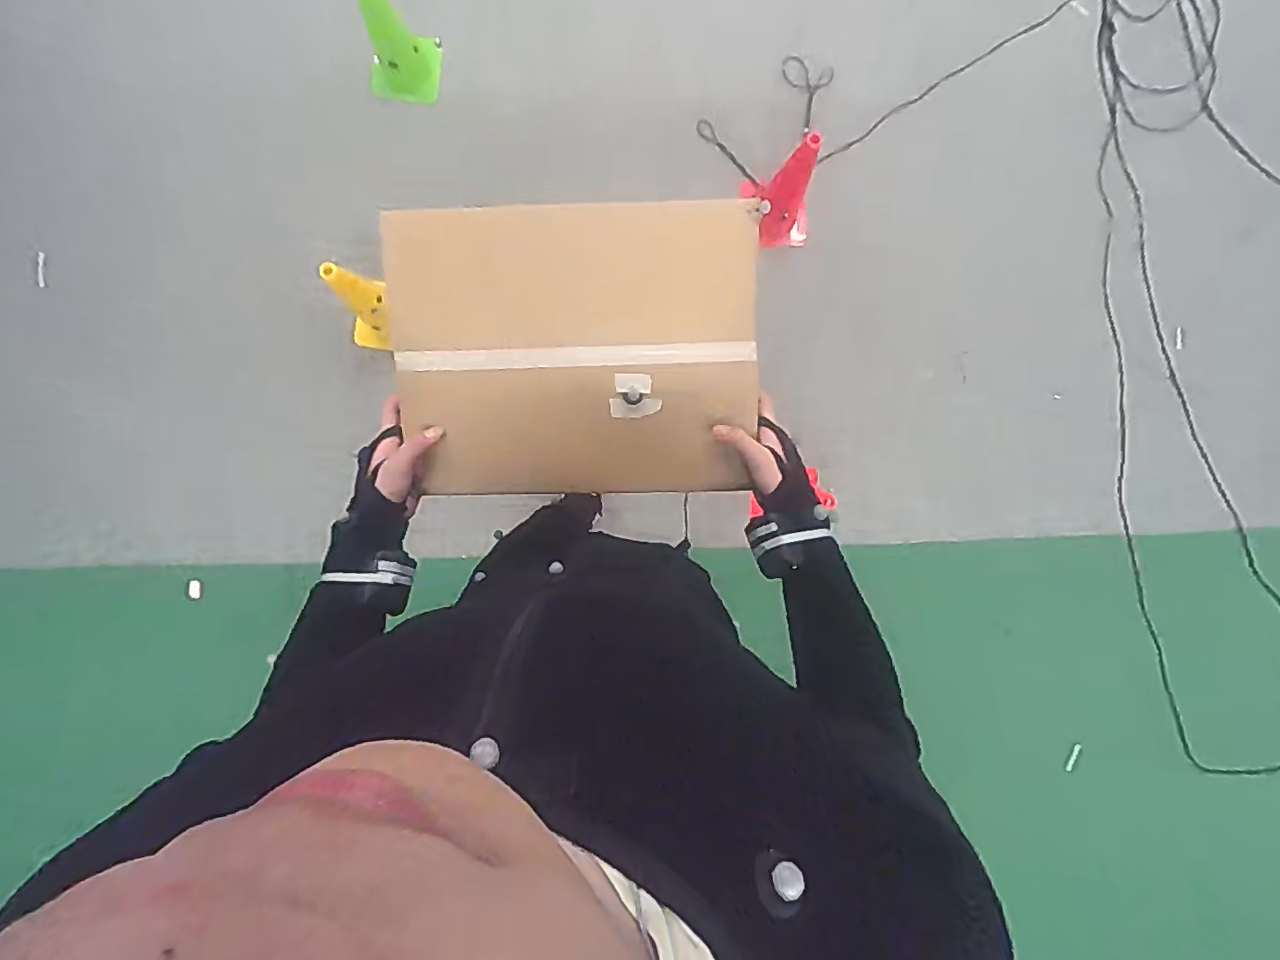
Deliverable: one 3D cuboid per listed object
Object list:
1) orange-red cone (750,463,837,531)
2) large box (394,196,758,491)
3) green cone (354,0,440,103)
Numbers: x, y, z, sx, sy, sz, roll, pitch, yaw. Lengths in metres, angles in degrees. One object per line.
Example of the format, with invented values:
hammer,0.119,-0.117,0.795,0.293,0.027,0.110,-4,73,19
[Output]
orange-red cone,0.450,0.054,1.477,0.199,0.360,0.198,6,90,-4
large box,-0.064,-0.172,0.756,0.408,0.320,0.320,-1,101,2
green cone,-0.698,-1.231,1.443,0.200,0.368,0.202,4,91,-2
